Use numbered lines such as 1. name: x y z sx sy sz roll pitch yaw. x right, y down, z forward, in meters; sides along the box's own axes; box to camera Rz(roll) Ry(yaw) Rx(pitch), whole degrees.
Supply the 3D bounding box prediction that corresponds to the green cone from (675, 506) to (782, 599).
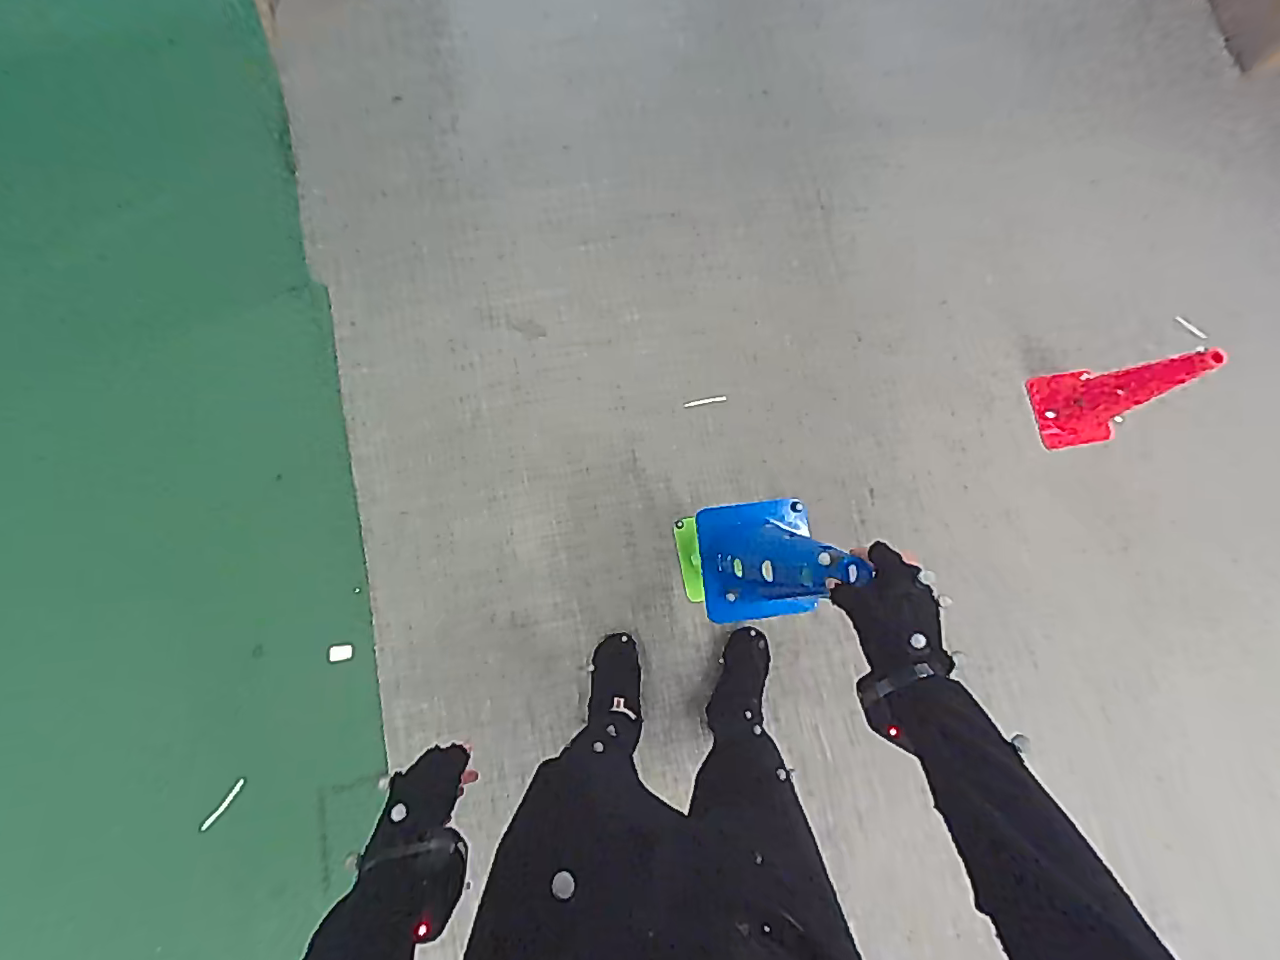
1. green cone: 0.211 0.146 1.130 0.202 0.368 0.200 -10 82 -7
